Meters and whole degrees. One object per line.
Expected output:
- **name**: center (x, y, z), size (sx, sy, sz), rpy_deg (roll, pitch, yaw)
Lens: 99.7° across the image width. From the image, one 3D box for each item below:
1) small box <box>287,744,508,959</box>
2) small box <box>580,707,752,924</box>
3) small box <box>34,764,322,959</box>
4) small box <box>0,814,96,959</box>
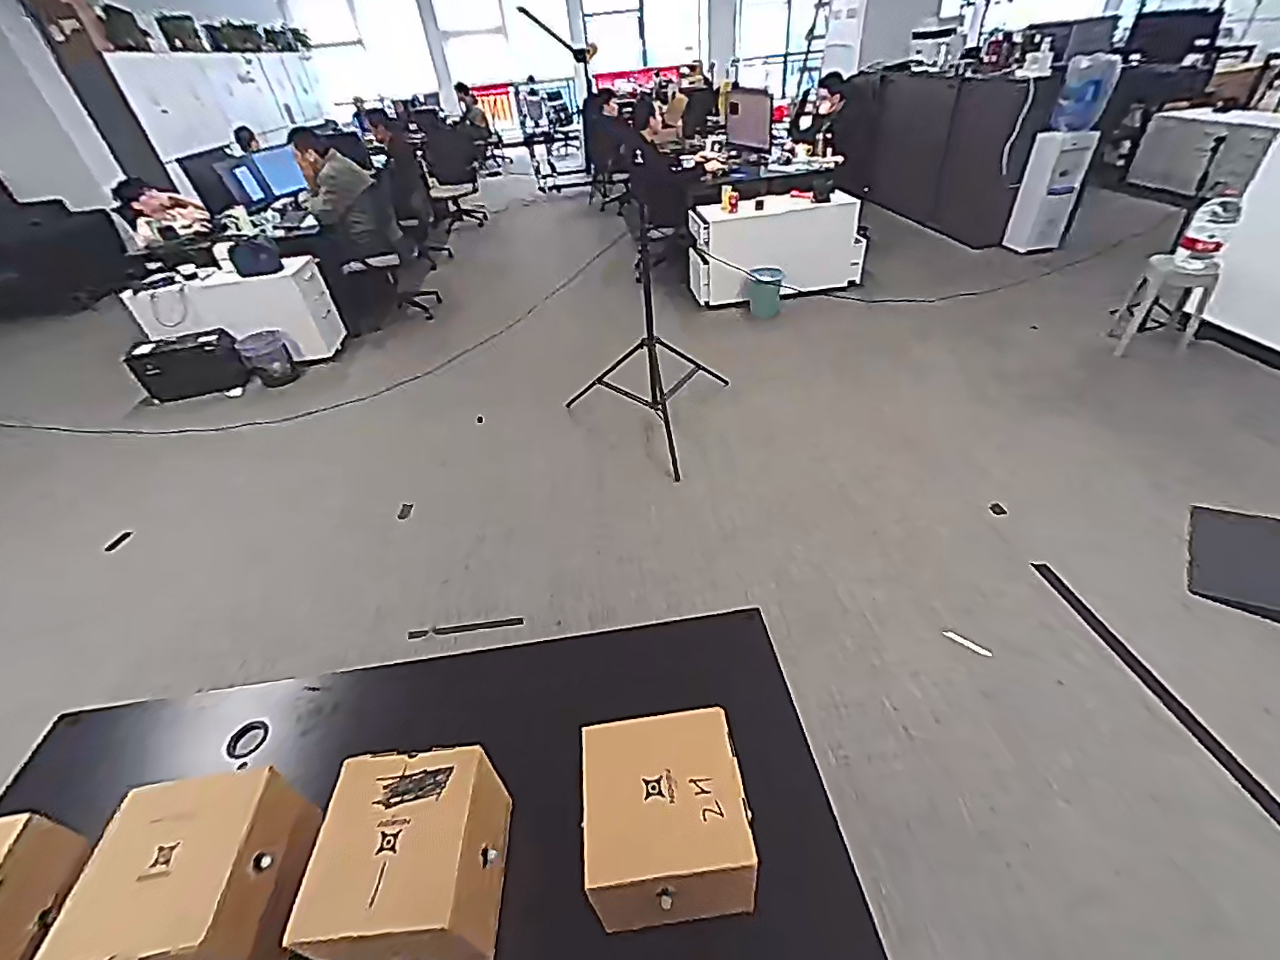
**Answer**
- **small box**: center (-0.259, 0.441, 0.634), size (0.168, 0.176, 0.179), rpy_deg (-6, 39, 0)
- **small box**: center (0.029, 0.401, 0.647), size (0.179, 0.176, 0.168), rpy_deg (-7, 39, -1)
- **small box**: center (-0.508, 0.470, 0.632), size (0.168, 0.176, 0.179), rpy_deg (-8, 38, -4)
- **small box**: center (-0.766, 0.511, 0.609), size (0.179, 0.176, 0.168), rpy_deg (-9, 38, -5)
